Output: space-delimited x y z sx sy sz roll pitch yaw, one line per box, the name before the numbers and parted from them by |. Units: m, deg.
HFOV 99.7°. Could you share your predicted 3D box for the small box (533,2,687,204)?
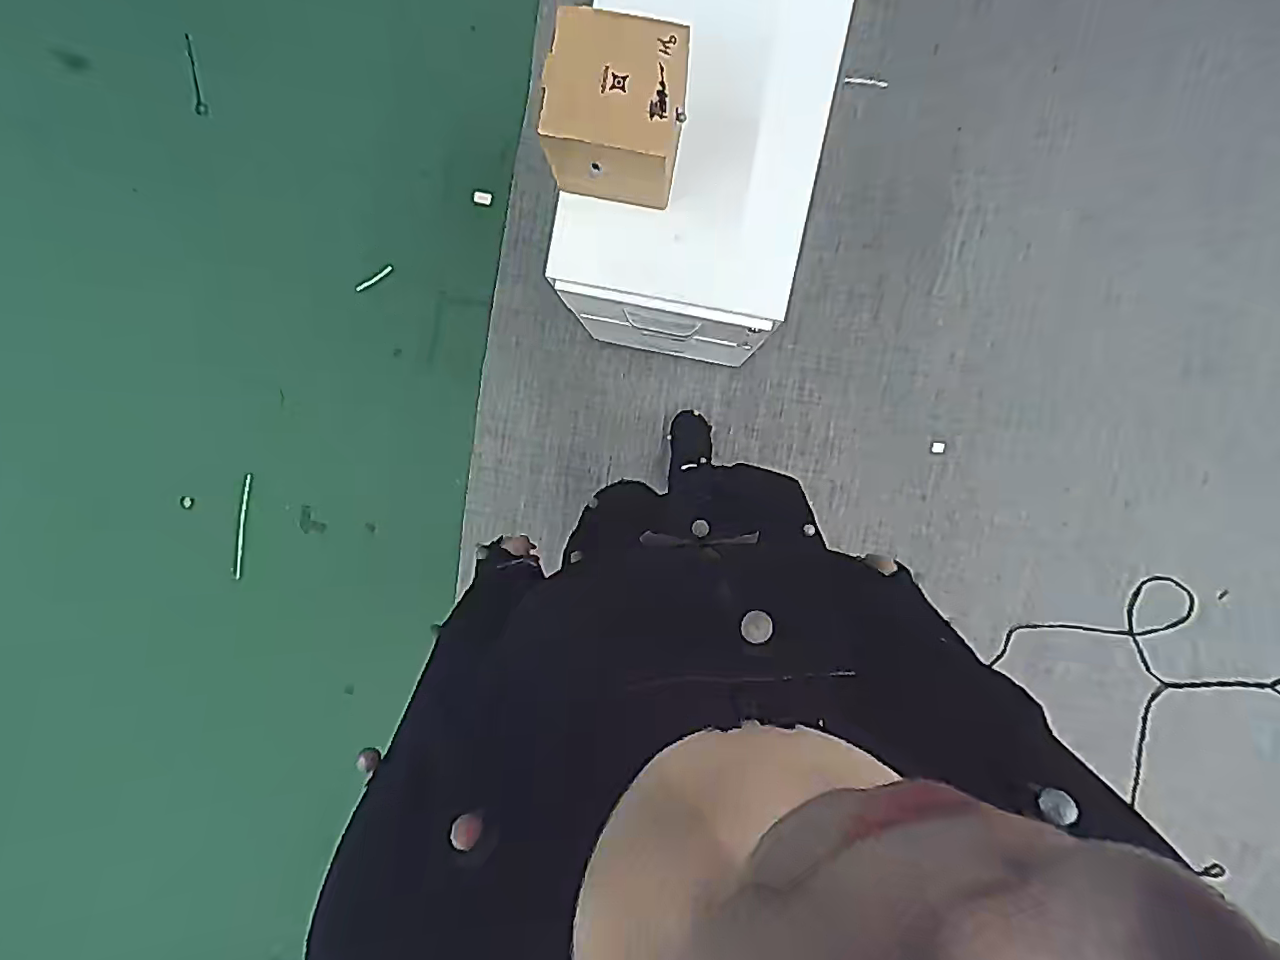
small box | -0.036 -0.521 0.773 0.179 0.176 0.168 11 96 2
